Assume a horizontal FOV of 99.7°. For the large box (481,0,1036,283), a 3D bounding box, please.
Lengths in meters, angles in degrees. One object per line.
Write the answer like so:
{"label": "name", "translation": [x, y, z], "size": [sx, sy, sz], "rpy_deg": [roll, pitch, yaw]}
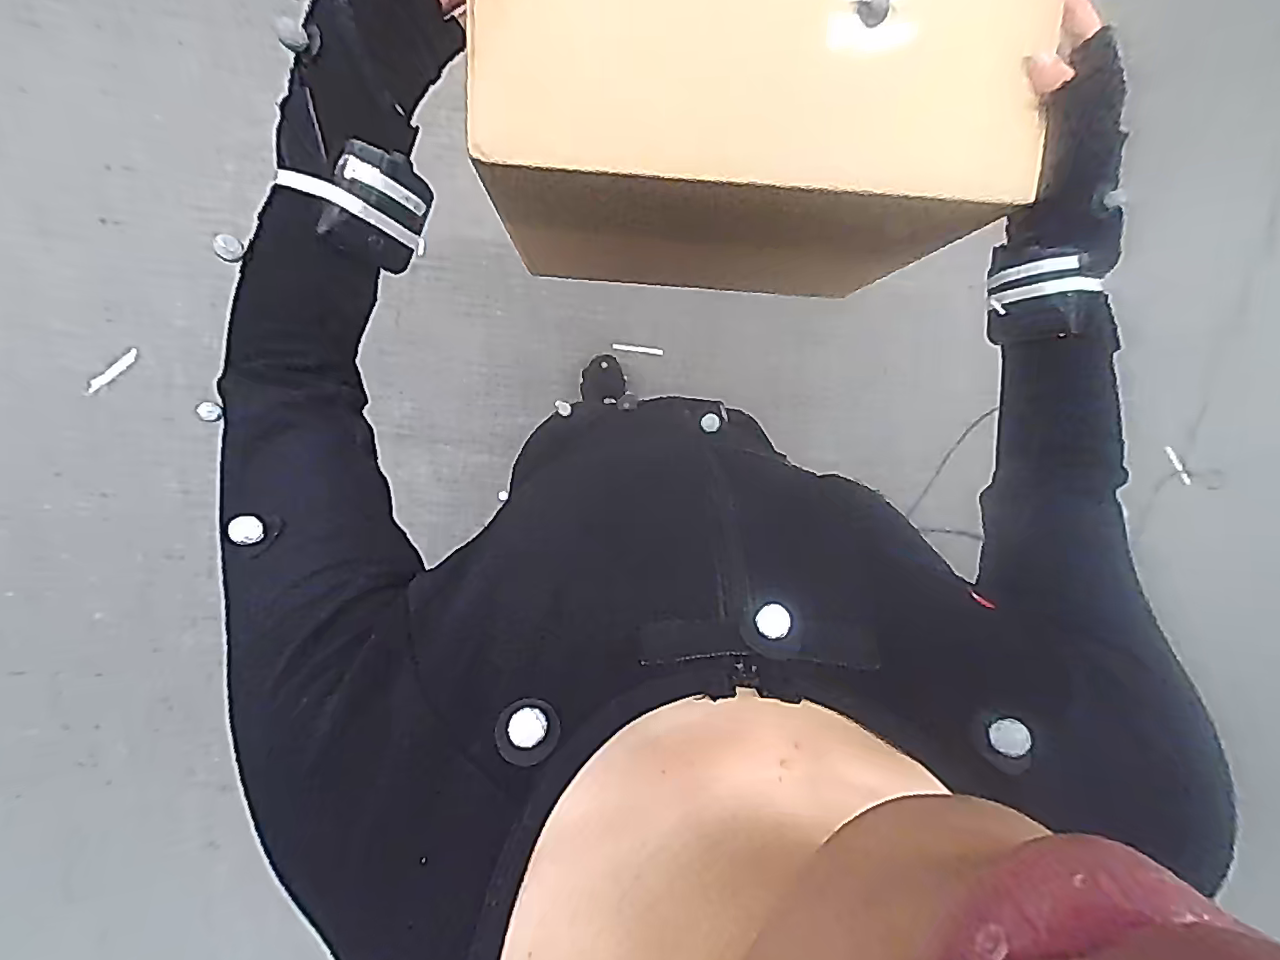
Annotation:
{"label": "large box", "translation": [0.078, -0.392, 0.522], "size": [0.408, 0.320, 0.320], "rpy_deg": [2, 97, -5]}
